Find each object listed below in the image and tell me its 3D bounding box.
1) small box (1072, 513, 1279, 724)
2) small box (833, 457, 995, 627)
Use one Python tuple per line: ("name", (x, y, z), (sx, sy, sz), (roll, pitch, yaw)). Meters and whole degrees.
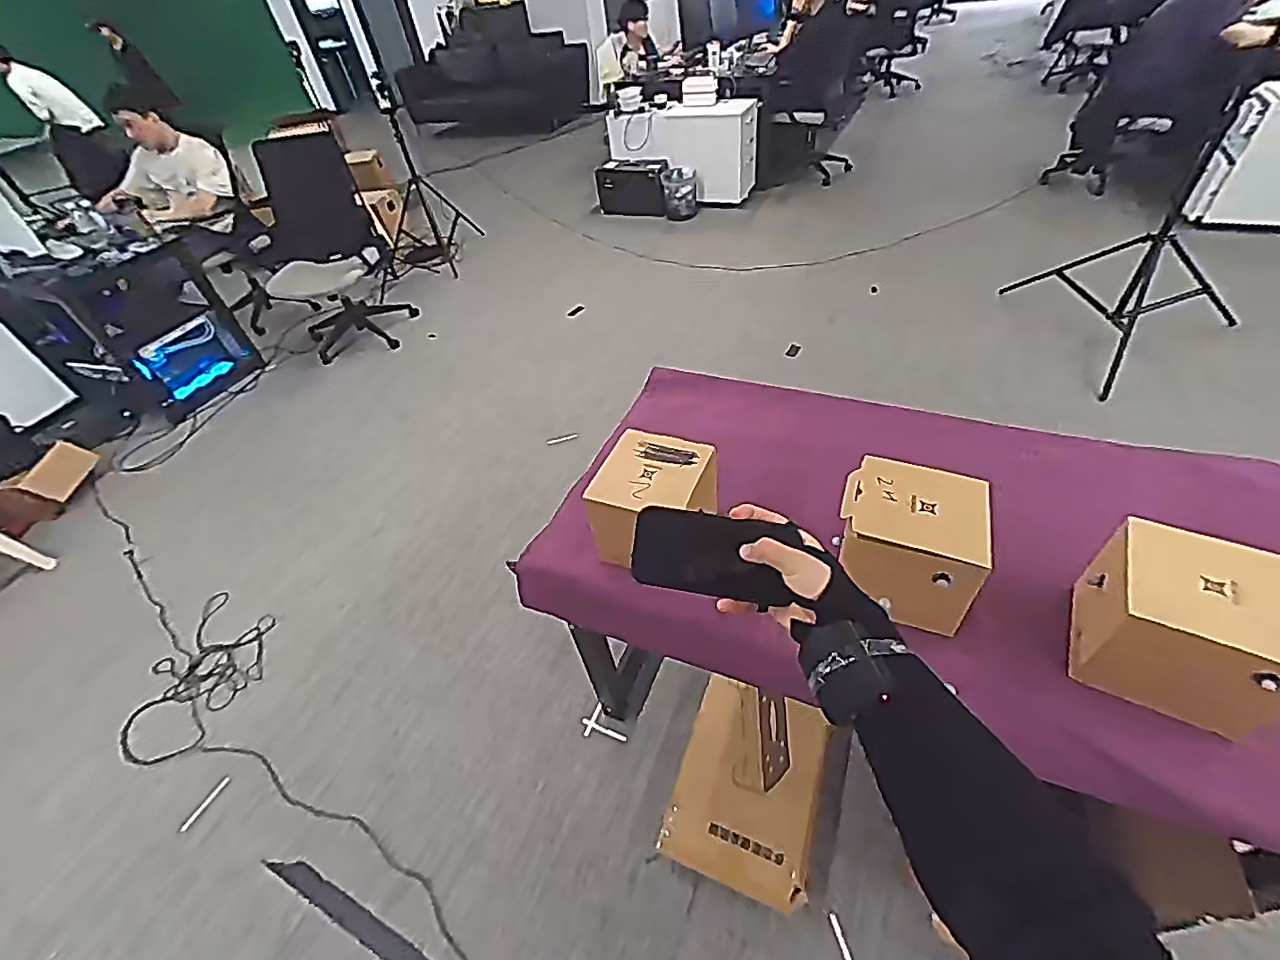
("small box", (0.683, 0.175, 0.682), (0.179, 0.176, 0.168), (18, 51, 25))
("small box", (0.401, 0.094, 0.807), (0.179, 0.176, 0.168), (12, 46, 20))
